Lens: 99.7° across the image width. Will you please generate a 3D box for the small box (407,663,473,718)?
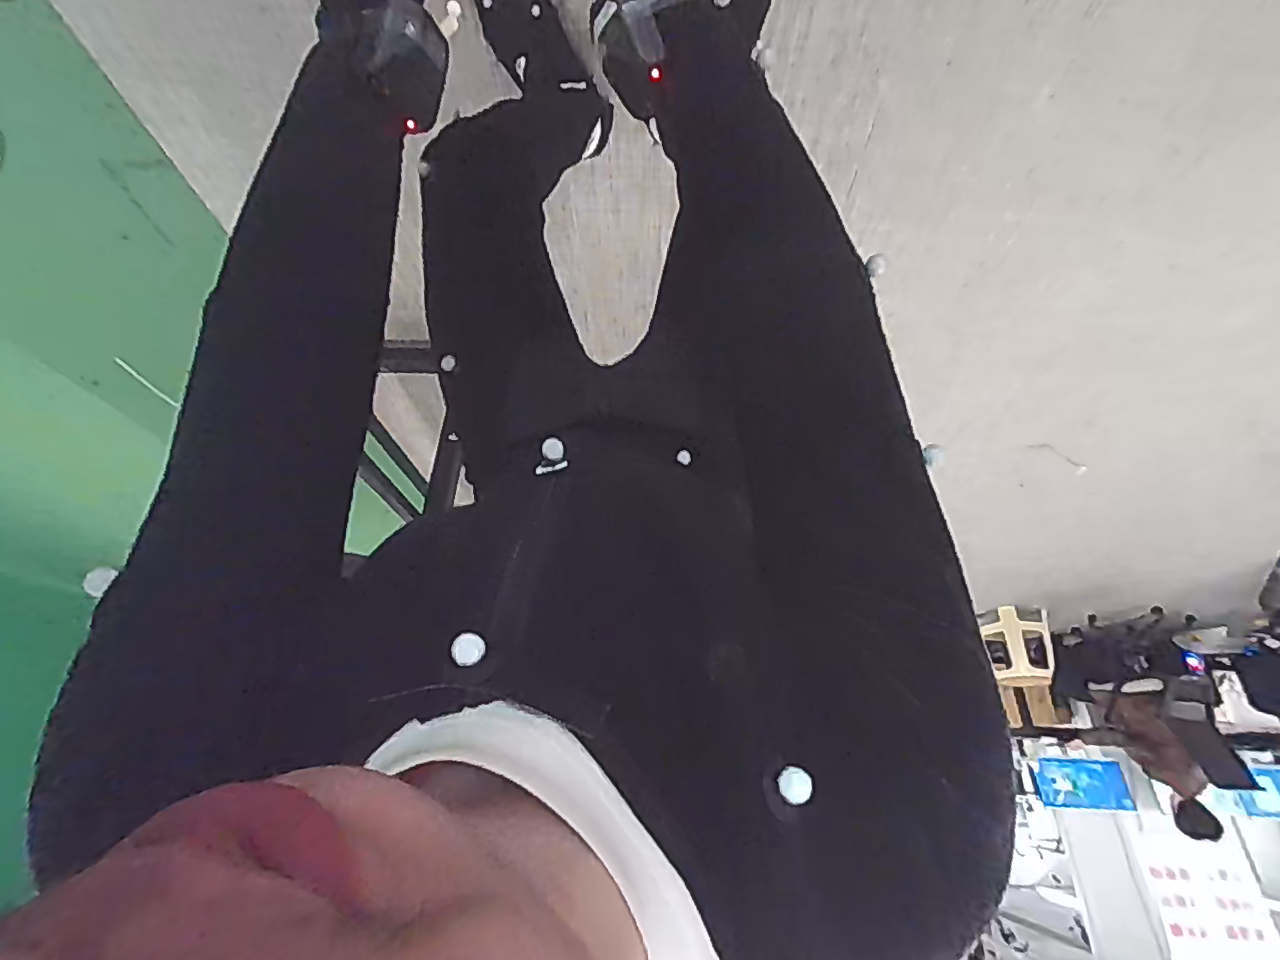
[{"bbox_3d":[-0.734,0.780,2.000,0.168,0.176,0.179,1,151,2],"label":"small box"}]
